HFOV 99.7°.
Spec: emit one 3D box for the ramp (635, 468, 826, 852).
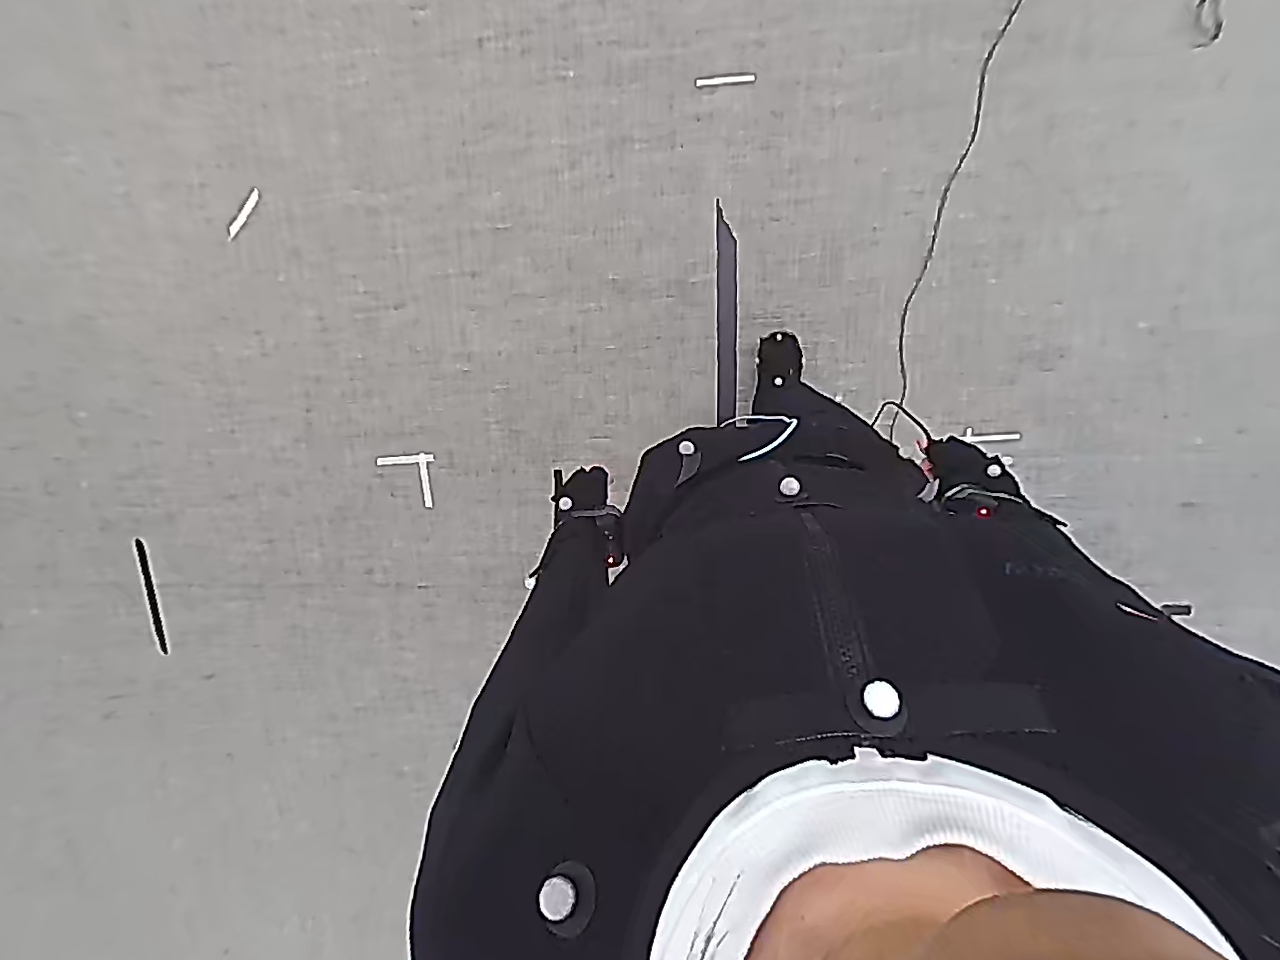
[{"bbox_3d":[0.235,0.470,1.447,0.509,0.206,0.991,0,100,8],"label":"ramp"}]
